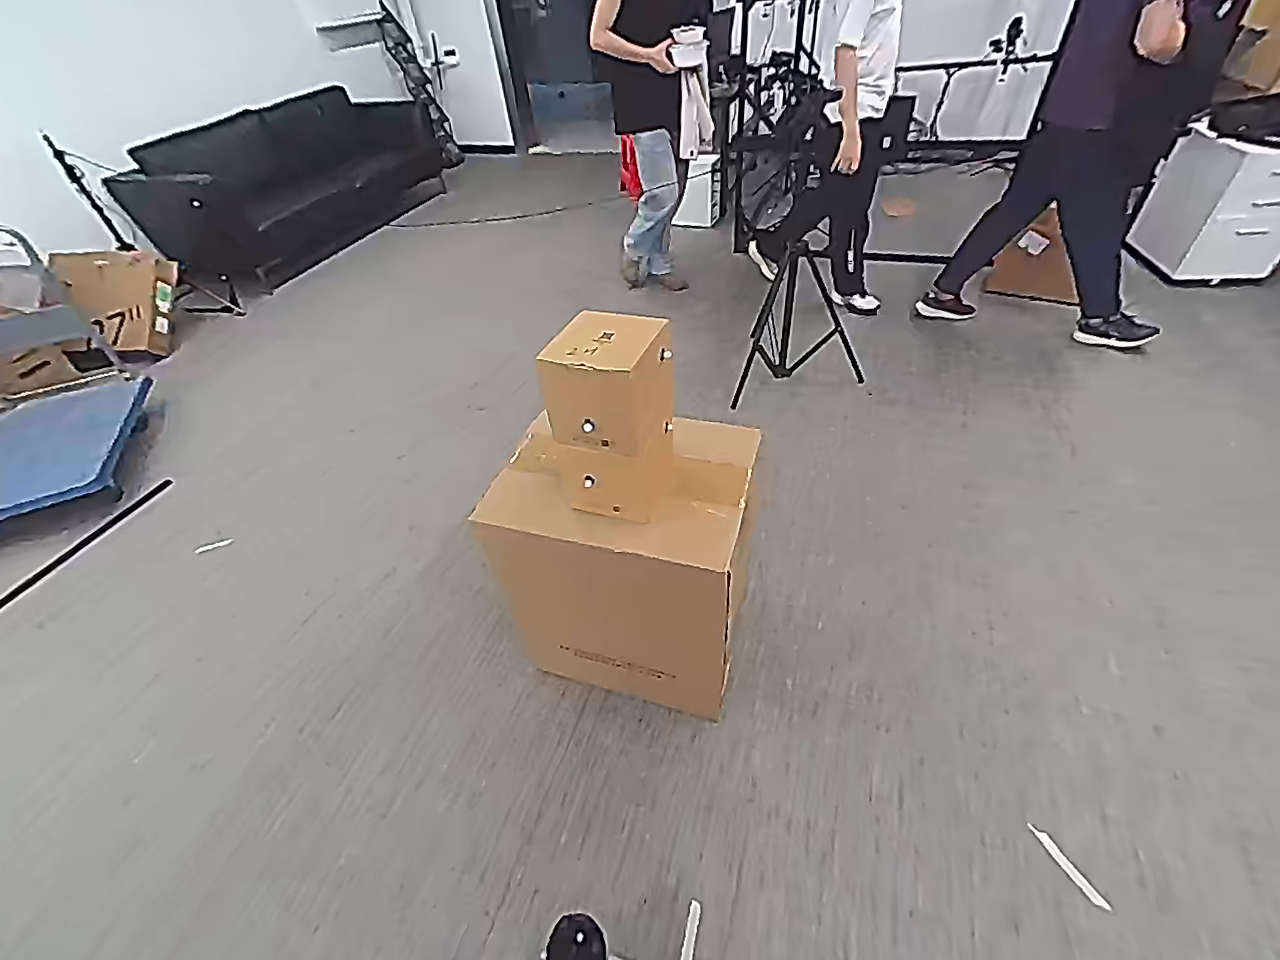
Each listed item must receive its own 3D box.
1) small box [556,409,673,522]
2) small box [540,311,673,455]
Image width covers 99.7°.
[{"bbox_3d":[-0.038,-0.044,1.039,0.168,0.176,0.179,11,45,18],"label":"small box"},{"bbox_3d":[-0.046,-0.169,0.931,0.168,0.176,0.179,12,45,20],"label":"small box"}]
